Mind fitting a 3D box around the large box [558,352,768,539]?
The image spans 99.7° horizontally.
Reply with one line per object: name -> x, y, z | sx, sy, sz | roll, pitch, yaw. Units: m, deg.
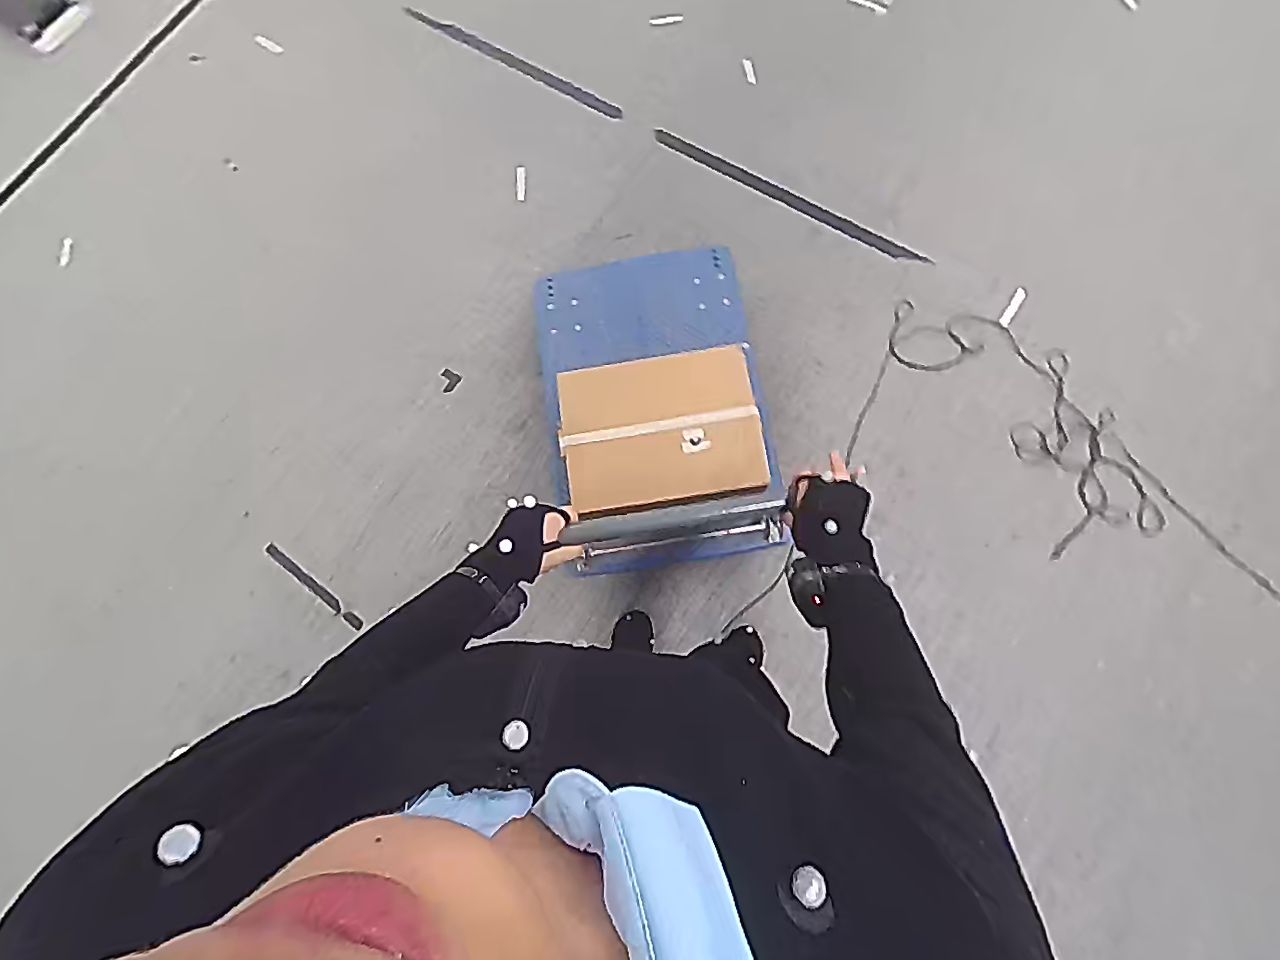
large box -> 0.047, -0.061, 1.265 | 0.408, 0.320, 0.320 | -9, 77, 1
